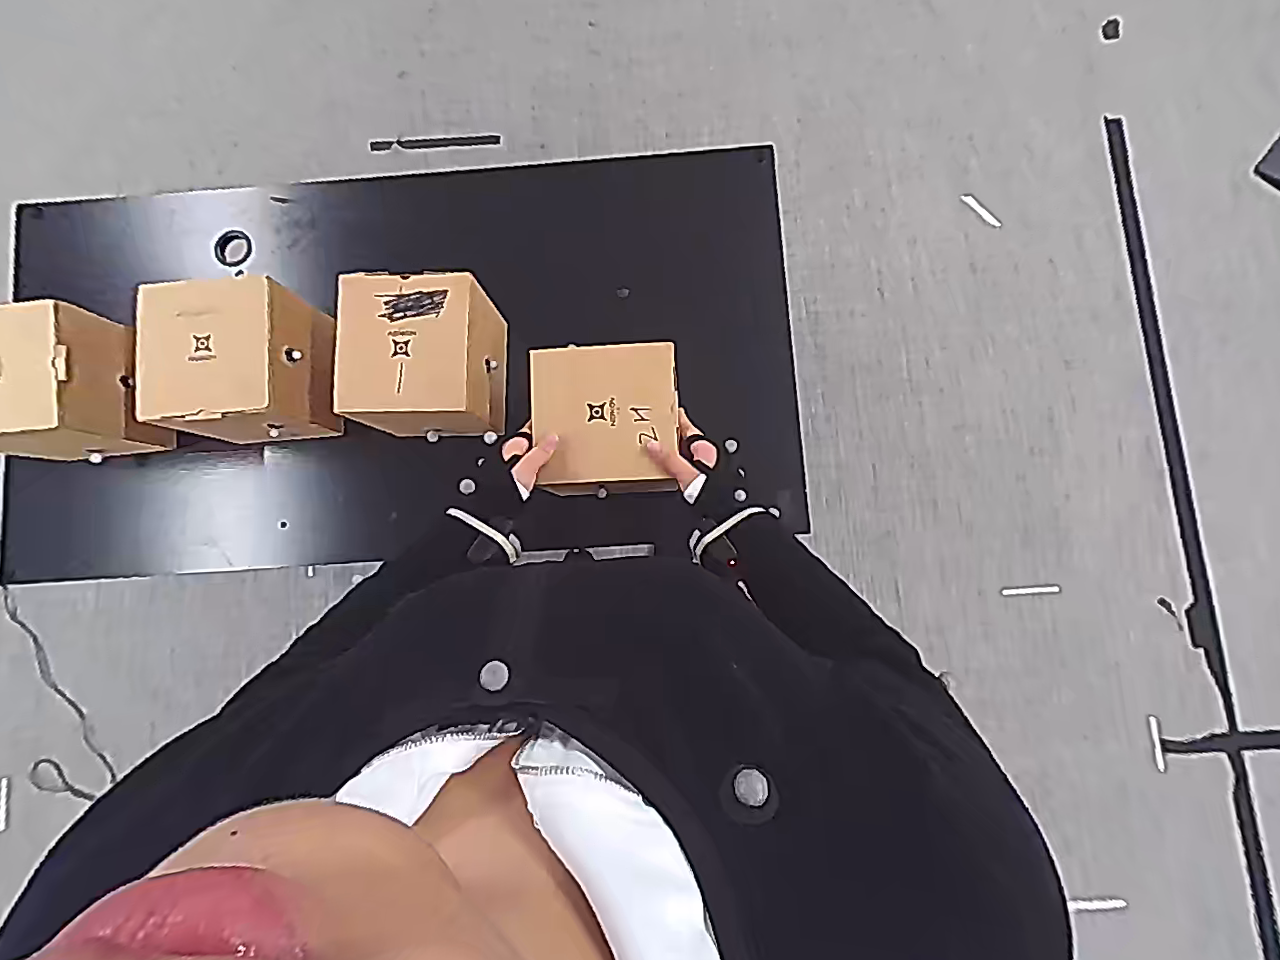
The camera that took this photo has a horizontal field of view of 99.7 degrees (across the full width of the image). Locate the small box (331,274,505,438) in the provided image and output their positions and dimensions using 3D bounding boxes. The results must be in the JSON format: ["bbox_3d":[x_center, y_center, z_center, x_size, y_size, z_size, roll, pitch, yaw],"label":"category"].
[{"bbox_3d":[-0.287,-0.159,0.735,0.168,0.176,0.179,0,85,1],"label":"small box"}]

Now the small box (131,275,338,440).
[{"bbox_3d":[-0.537,-0.154,0.740,0.168,0.176,0.179,-5,83,0],"label":"small box"}]

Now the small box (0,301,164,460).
[{"bbox_3d":[-0.798,-0.126,0.739,0.179,0.176,0.168,-6,84,-1],"label":"small box"}]

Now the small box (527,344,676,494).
[{"bbox_3d":[-0.043,-0.071,0.720,0.179,0.176,0.168,-3,84,1],"label":"small box"}]
